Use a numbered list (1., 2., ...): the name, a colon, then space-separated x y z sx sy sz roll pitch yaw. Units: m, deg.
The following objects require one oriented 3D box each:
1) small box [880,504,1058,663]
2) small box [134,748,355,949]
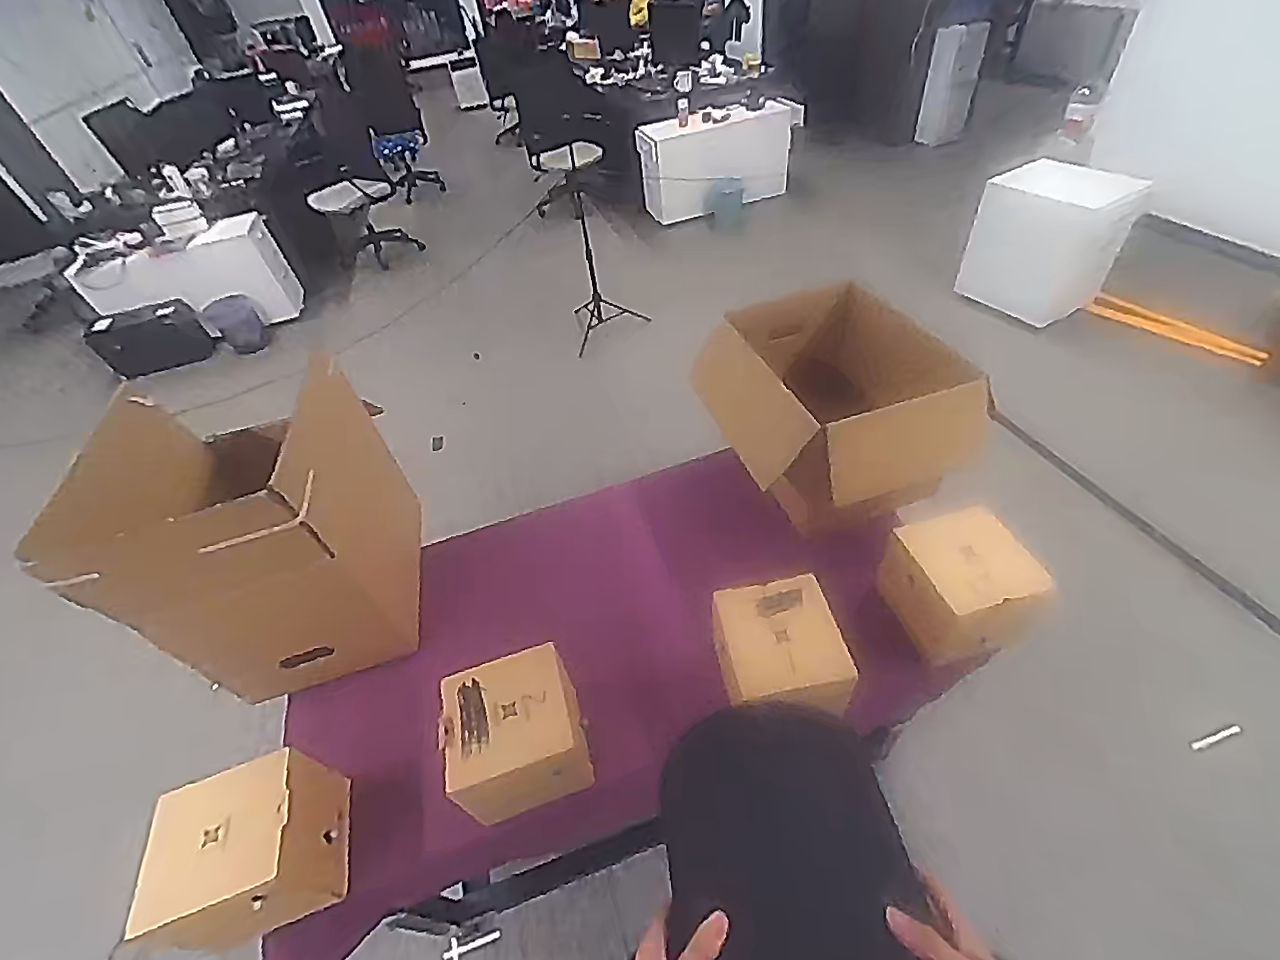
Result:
1. small box: 0.527 0.172 0.900 0.168 0.176 0.179 -15 45 -3
2. small box: -0.529 0.516 0.755 0.179 0.176 0.168 -19 46 -10
